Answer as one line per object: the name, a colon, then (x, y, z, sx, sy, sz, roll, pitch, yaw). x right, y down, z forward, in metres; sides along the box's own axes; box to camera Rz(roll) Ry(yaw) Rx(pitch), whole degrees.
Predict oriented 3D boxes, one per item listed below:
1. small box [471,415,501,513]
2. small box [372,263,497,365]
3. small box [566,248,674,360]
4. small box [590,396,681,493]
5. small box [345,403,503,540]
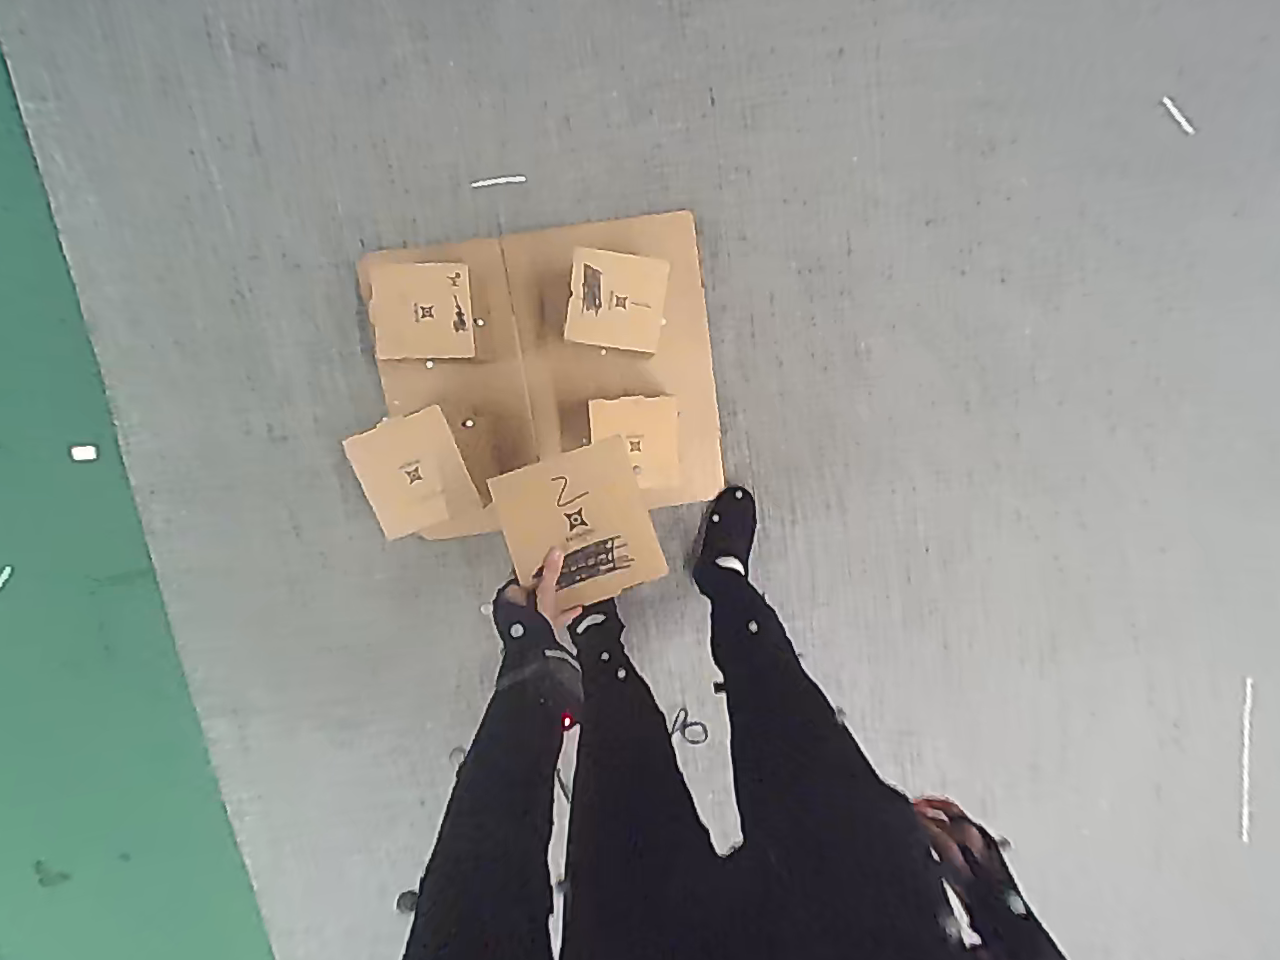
small box: (-0.378, -0.035, 1.076, 0.168, 0.176, 0.179, -3, 99, -3)
small box: (-0.383, -0.308, 1.032, 0.179, 0.176, 0.168, -1, 99, -2)
small box: (-0.041, -0.328, 1.042, 0.179, 0.176, 0.168, 8, 98, -6)
small box: (-0.010, -0.077, 1.085, 0.168, 0.176, 0.179, -4, 99, -3)
small box: (-0.351, -0.022, 0.914, 0.168, 0.176, 0.179, -20, 100, 1)
